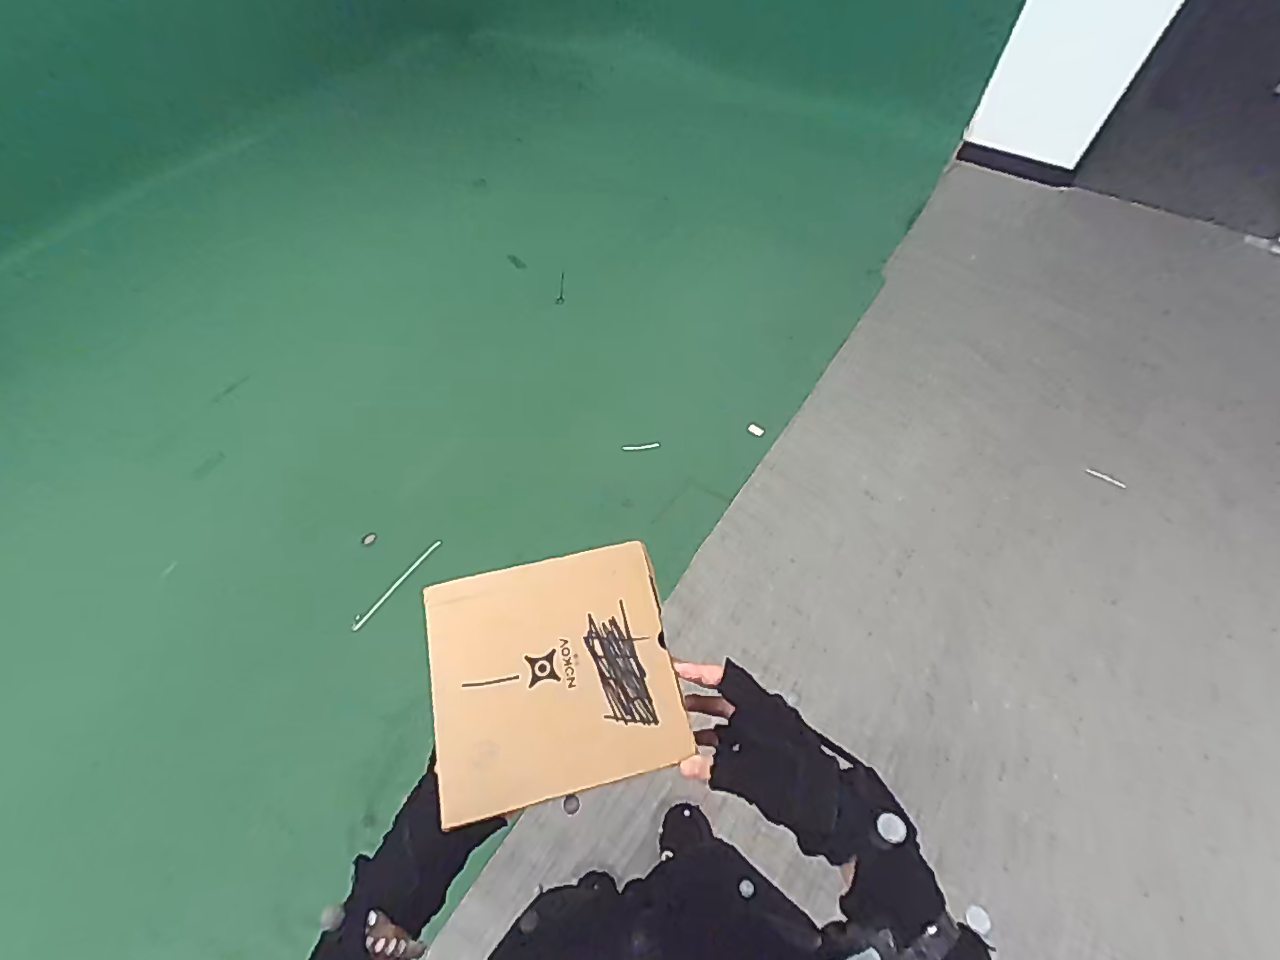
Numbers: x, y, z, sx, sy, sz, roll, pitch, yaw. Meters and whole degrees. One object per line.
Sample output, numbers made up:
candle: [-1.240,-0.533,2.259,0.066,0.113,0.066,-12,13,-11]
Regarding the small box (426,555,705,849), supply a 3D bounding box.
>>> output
small box: [-0.063,0.180,0.454,0.179,0.176,0.168,-11,64,-9]
